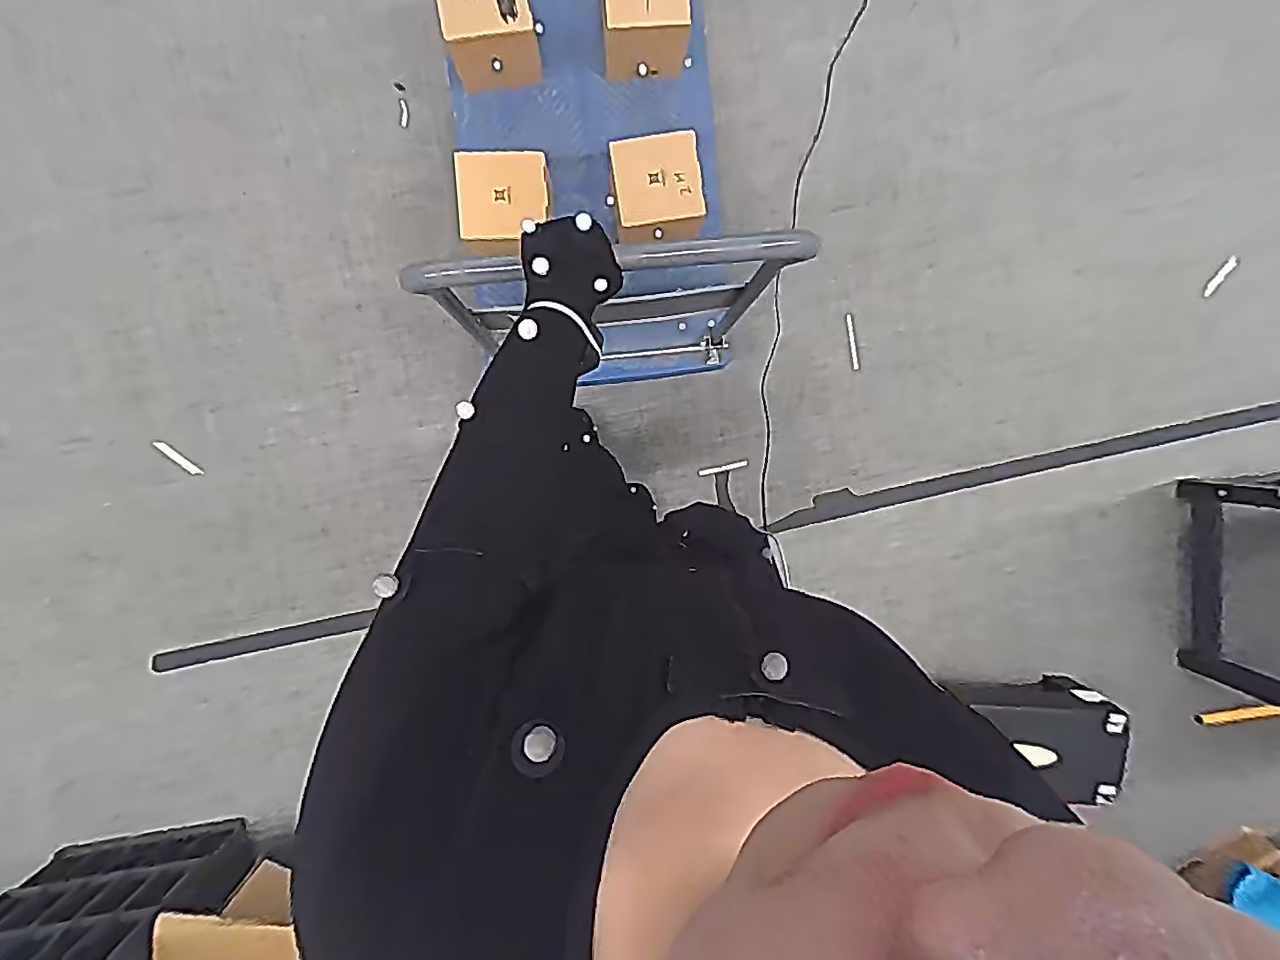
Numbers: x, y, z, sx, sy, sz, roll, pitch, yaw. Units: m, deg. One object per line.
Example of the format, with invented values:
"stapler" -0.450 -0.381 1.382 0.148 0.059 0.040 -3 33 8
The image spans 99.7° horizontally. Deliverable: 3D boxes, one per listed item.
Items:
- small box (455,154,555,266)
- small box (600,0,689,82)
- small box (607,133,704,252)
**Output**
"small box" -0.278 -0.562 1.143 0.179 0.176 0.168 -4 95 -5
"small box" 0.004 -0.970 1.121 0.168 0.176 0.179 -5 97 -3
"small box" 0.029 -0.604 1.157 0.179 0.176 0.168 -9 96 -2
